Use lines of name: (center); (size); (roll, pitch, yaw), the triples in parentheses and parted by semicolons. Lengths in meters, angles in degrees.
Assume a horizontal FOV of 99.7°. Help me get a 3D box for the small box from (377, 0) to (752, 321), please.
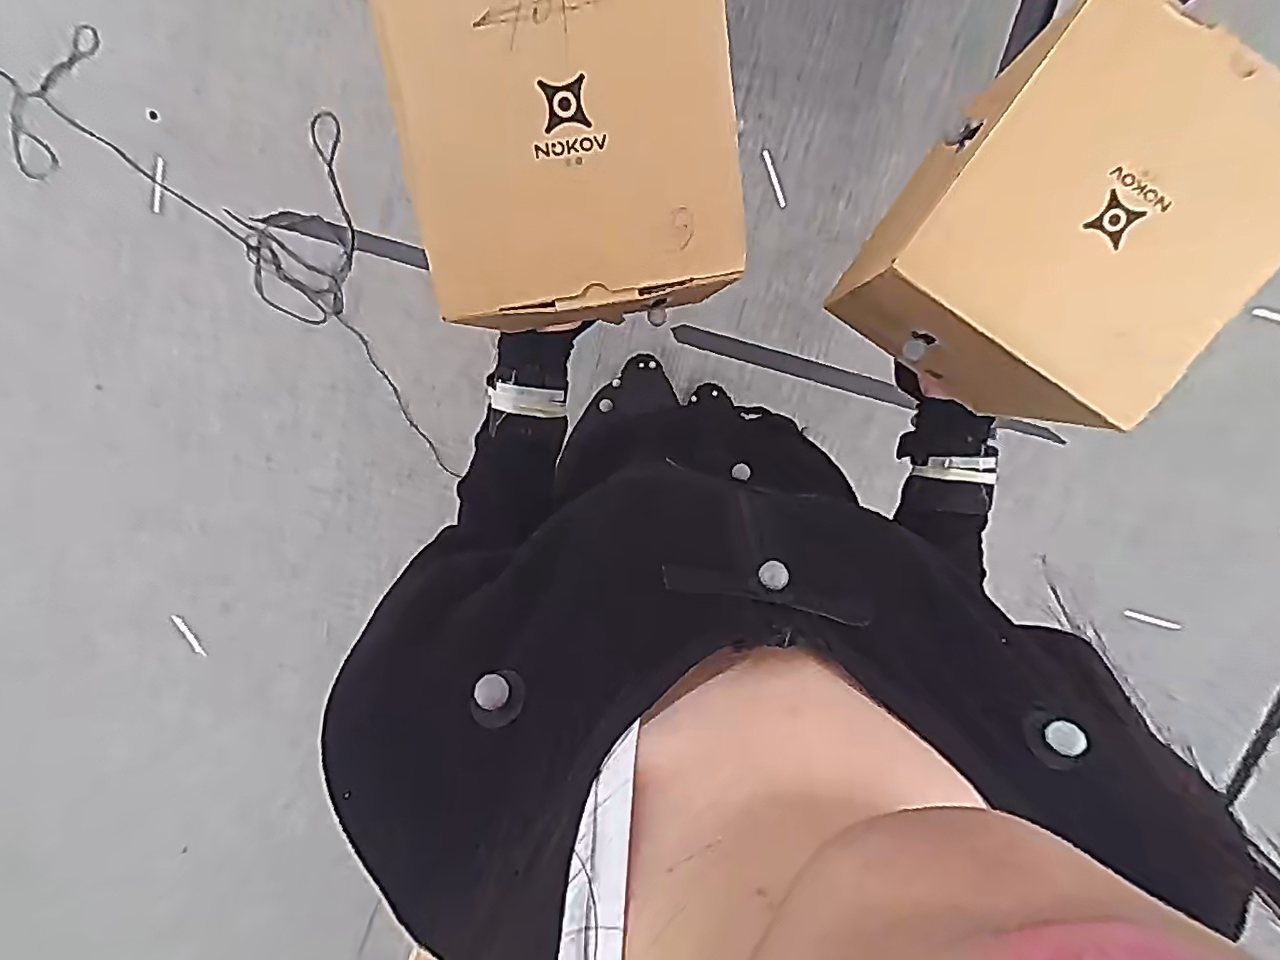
small box: (-0.036, -0.199, 0.340); (0.168, 0.176, 0.179); (-10, 103, -1)

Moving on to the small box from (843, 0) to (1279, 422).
small box: (0.262, -0.158, 0.364); (0.168, 0.176, 0.179); (35, 101, 0)
